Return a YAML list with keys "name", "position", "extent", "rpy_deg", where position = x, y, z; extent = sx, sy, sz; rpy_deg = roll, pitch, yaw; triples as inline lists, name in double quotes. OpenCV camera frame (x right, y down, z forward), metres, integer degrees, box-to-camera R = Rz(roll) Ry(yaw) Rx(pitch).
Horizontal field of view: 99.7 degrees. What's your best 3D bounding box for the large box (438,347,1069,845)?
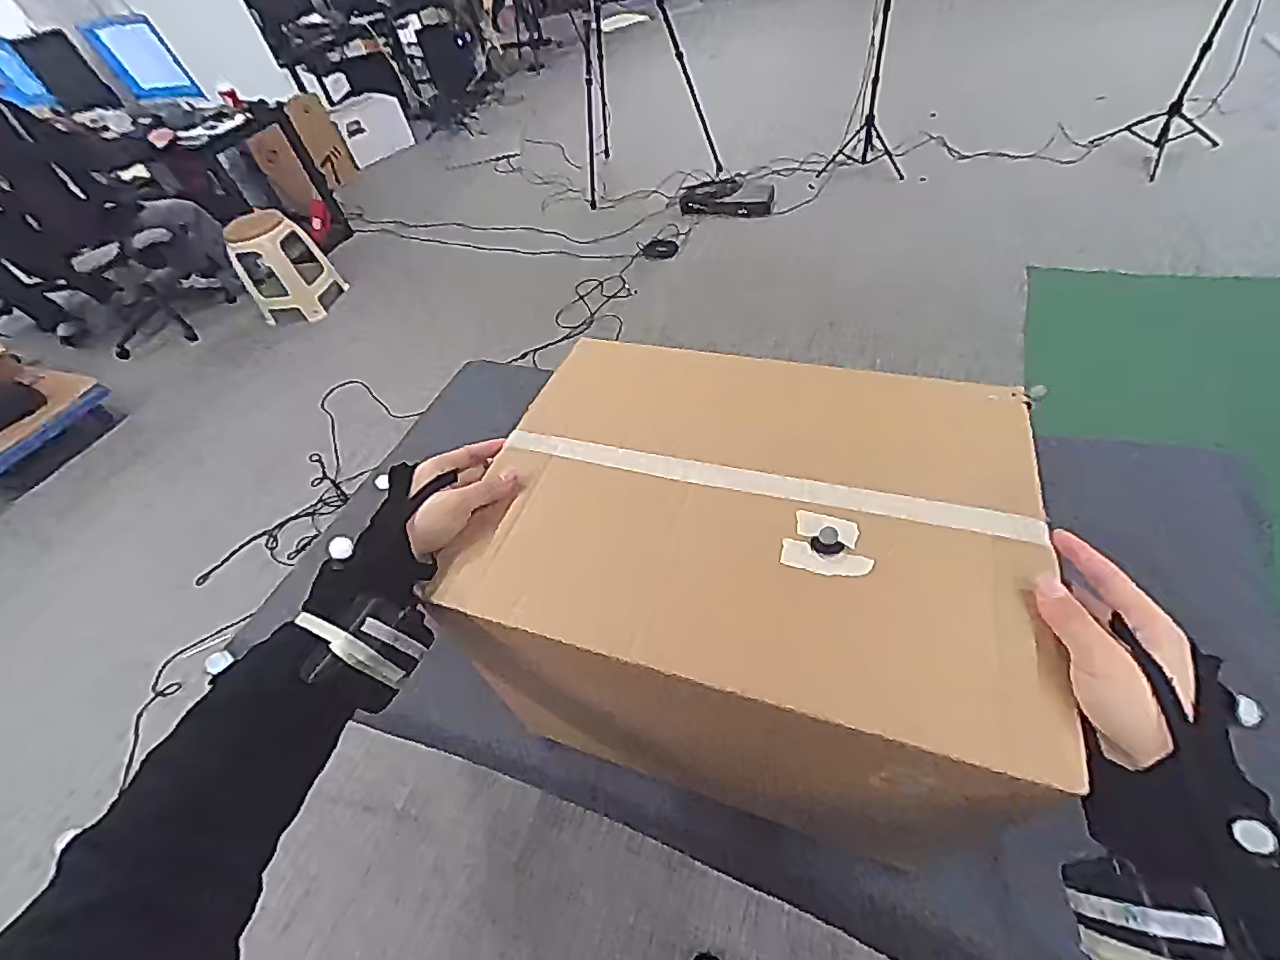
- name: "large box"
  position: [0.097, 0.102, 0.537]
  extent: [0.408, 0.320, 0.320]
  rpy_deg: [11, 52, 16]
